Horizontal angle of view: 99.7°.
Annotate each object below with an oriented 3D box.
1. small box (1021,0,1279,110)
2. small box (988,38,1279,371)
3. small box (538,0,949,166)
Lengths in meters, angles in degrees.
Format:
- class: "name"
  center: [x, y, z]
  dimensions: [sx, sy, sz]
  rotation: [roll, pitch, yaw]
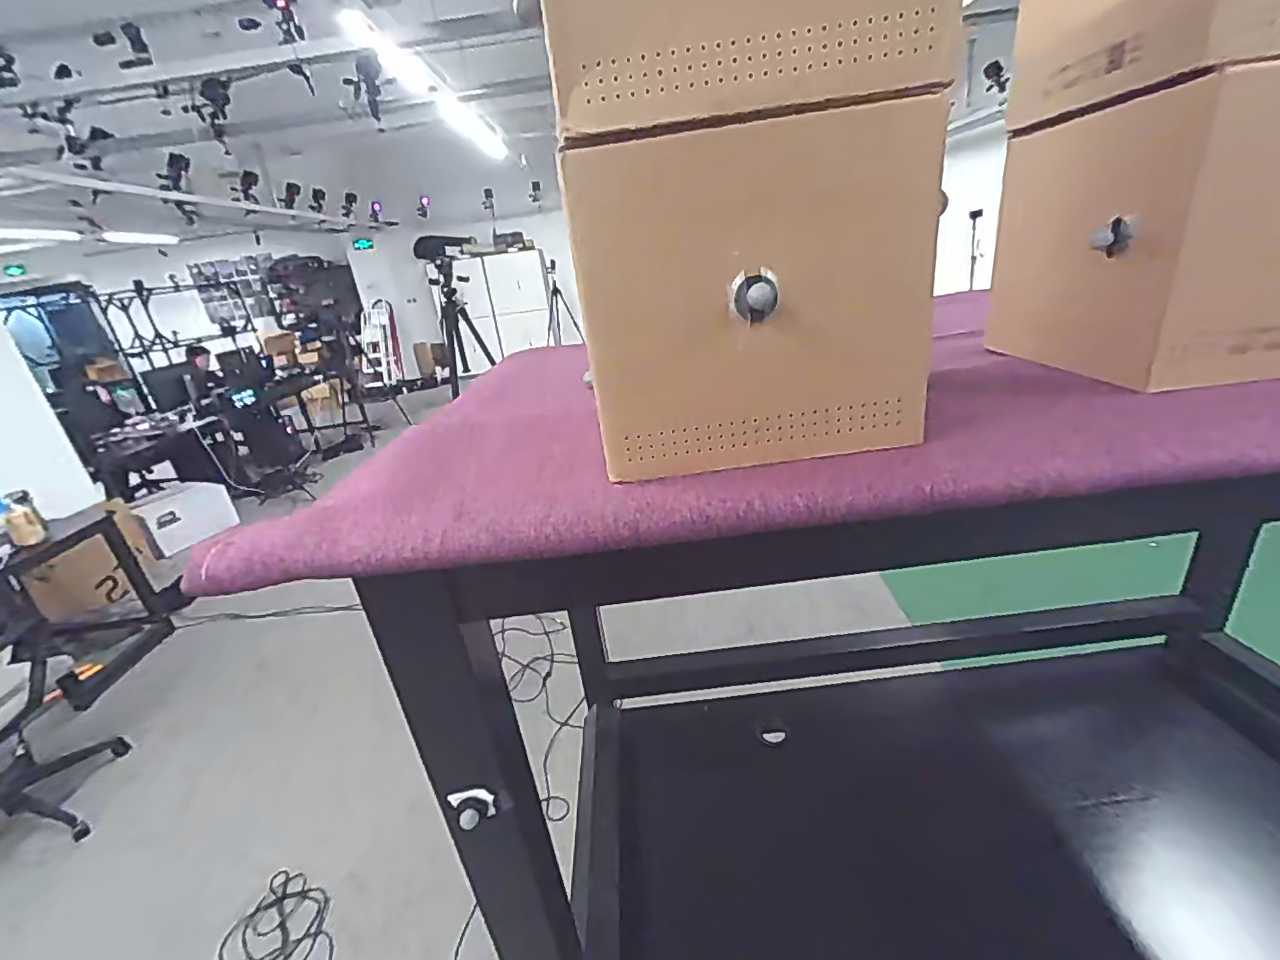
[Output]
- class: "small box"
  center: [0.349, -0.324, 0.300]
  dimensions: [0.179, 0.176, 0.168]
  rotation: [-6, 23, 3]
- class: "small box"
  center: [0.370, -0.173, 0.362]
  dimensions: [0.168, 0.176, 0.179]
  rotation: [-6, 22, 2]
- class: "small box"
  center: [0.035, -0.269, 0.270]
  dimensions: [0.179, 0.176, 0.168]
  rotation: [-9, 23, 1]
